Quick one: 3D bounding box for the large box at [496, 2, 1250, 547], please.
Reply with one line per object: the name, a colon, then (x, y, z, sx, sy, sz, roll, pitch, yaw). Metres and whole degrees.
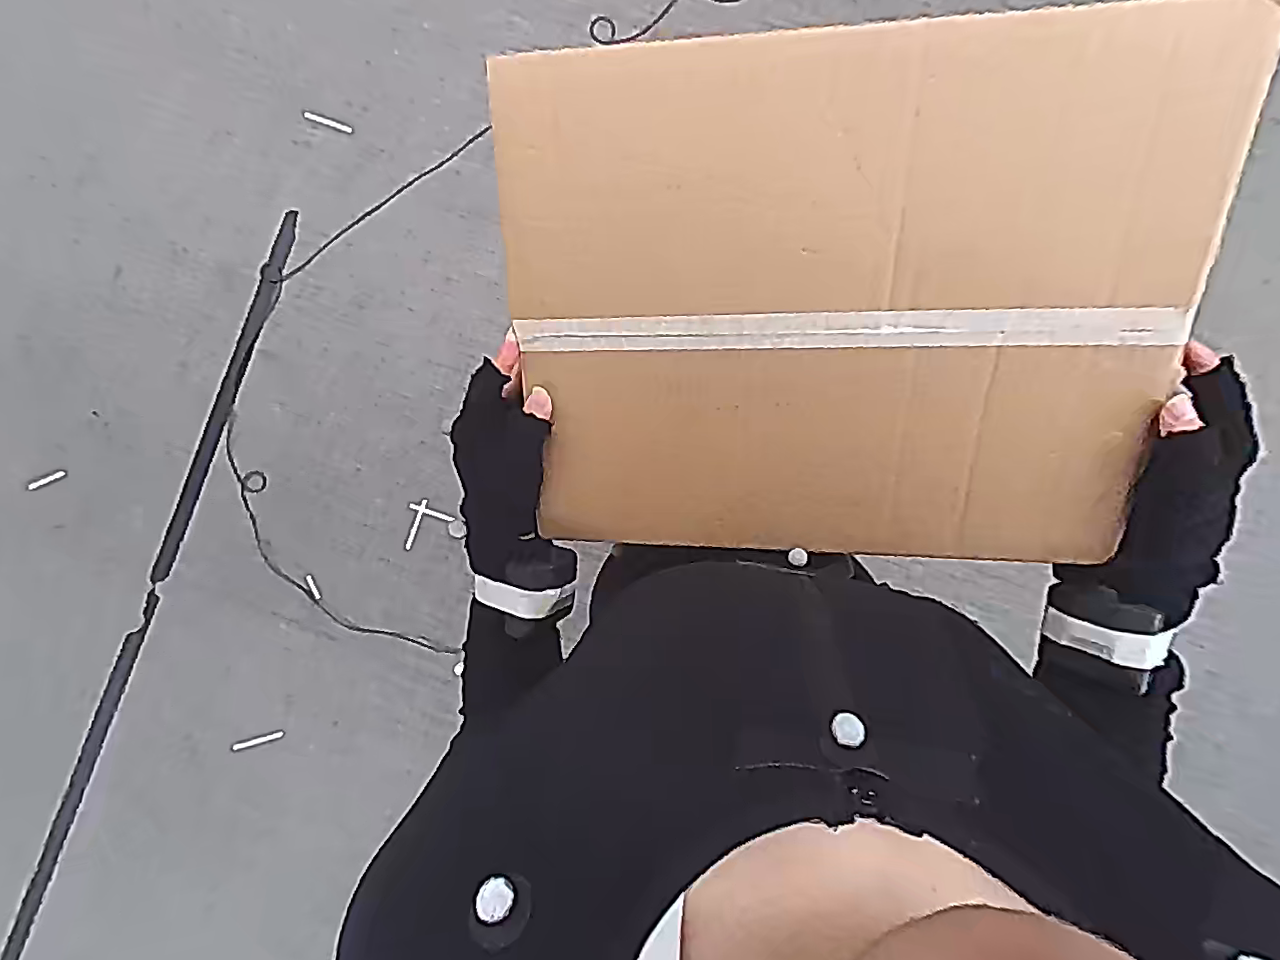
large box: (0.132, -0.152, 0.486, 0.408, 0.320, 0.320, 2, 113, 8)
